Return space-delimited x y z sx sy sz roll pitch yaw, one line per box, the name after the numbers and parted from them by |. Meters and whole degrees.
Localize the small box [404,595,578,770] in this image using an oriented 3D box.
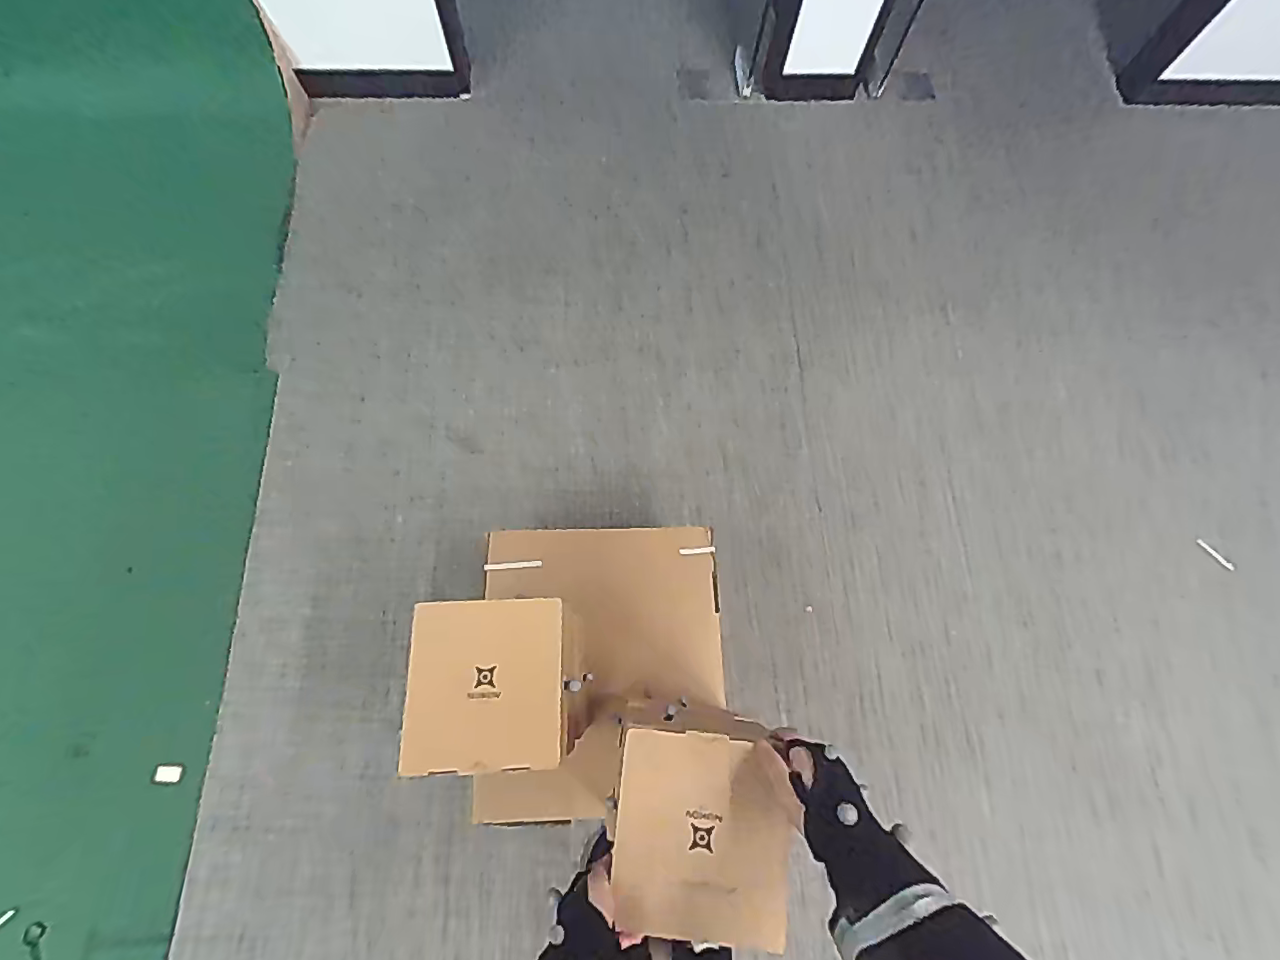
-0.166 0.240 0.659 0.168 0.176 0.179 -1 72 -2 | small box

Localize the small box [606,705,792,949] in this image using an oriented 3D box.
0.061 0.353 0.590 0.168 0.176 0.179 6 74 4 | small box

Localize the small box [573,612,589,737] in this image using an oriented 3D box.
-0.167 0.292 0.813 0.179 0.176 0.168 -3 70 -3 | small box
